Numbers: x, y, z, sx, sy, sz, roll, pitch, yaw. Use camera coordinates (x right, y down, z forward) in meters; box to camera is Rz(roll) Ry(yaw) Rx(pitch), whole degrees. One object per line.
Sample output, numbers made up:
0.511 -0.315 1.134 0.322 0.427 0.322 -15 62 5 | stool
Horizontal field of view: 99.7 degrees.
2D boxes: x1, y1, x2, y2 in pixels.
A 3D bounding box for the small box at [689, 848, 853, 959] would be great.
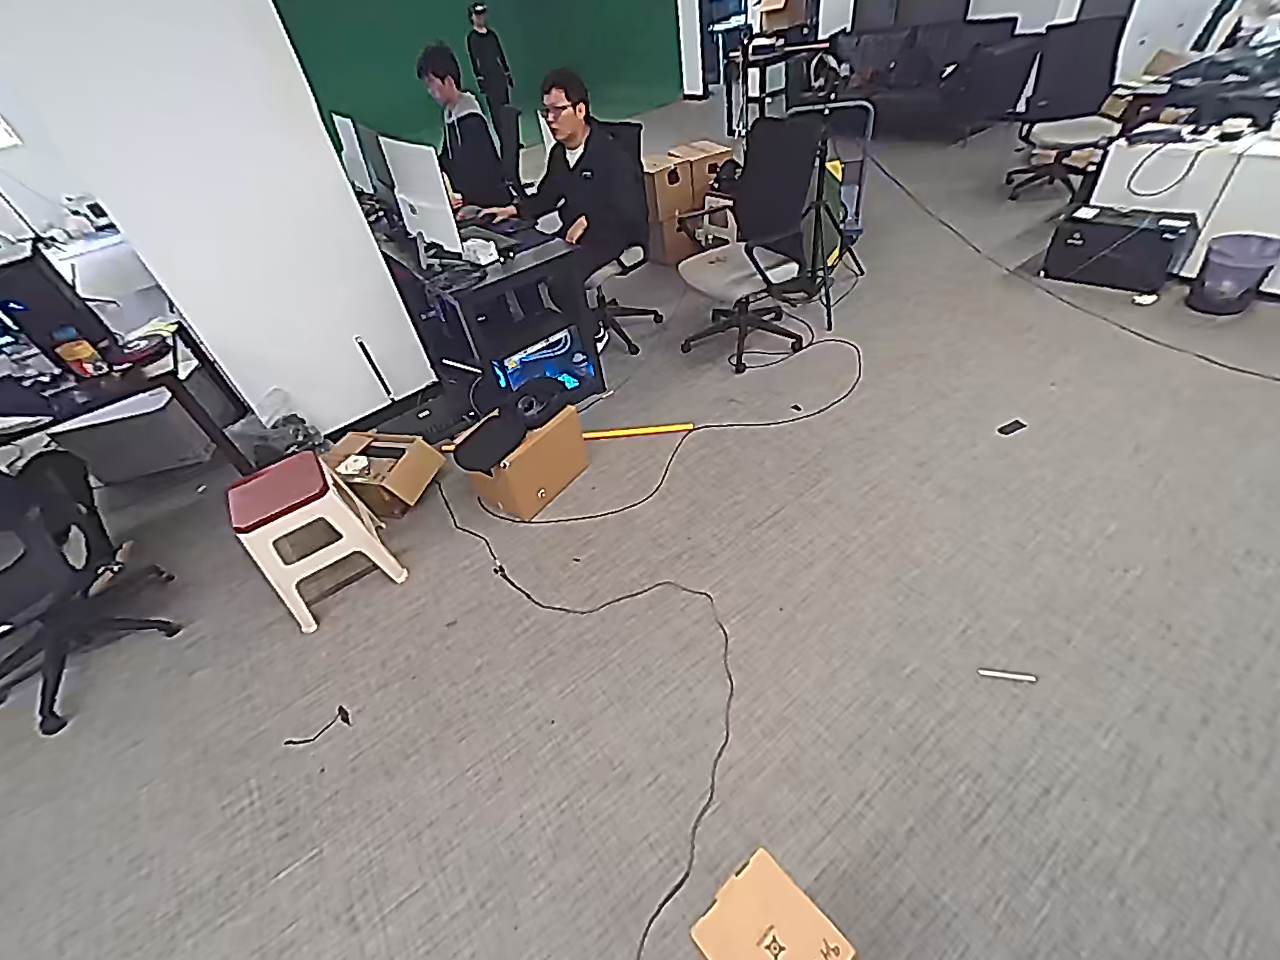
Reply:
0.196 0.726 0.833 0.168 0.176 0.179 -34 47 -24 | small box
